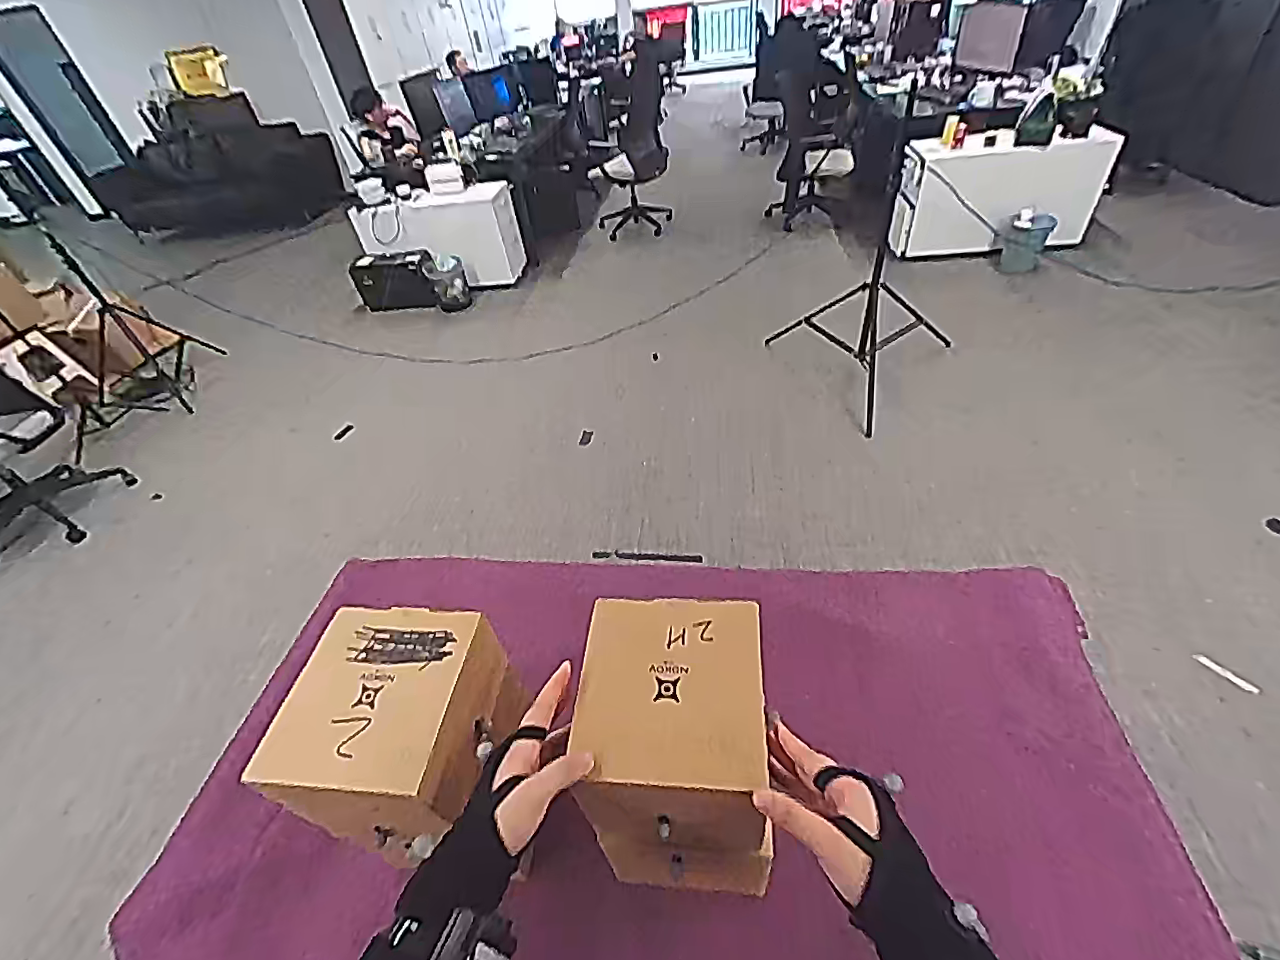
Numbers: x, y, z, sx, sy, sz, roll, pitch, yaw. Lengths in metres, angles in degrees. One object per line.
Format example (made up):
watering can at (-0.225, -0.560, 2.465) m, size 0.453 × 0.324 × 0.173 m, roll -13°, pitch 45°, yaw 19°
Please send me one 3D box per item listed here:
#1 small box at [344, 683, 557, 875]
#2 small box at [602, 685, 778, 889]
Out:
small box at (-0.219, 0.375, 0.679) m, size 0.179 × 0.176 × 0.168 m, roll 0°, pitch 43°, yaw 8°
small box at (0.065, 0.365, 0.644) m, size 0.179 × 0.176 × 0.168 m, roll -1°, pitch 43°, yaw 9°
